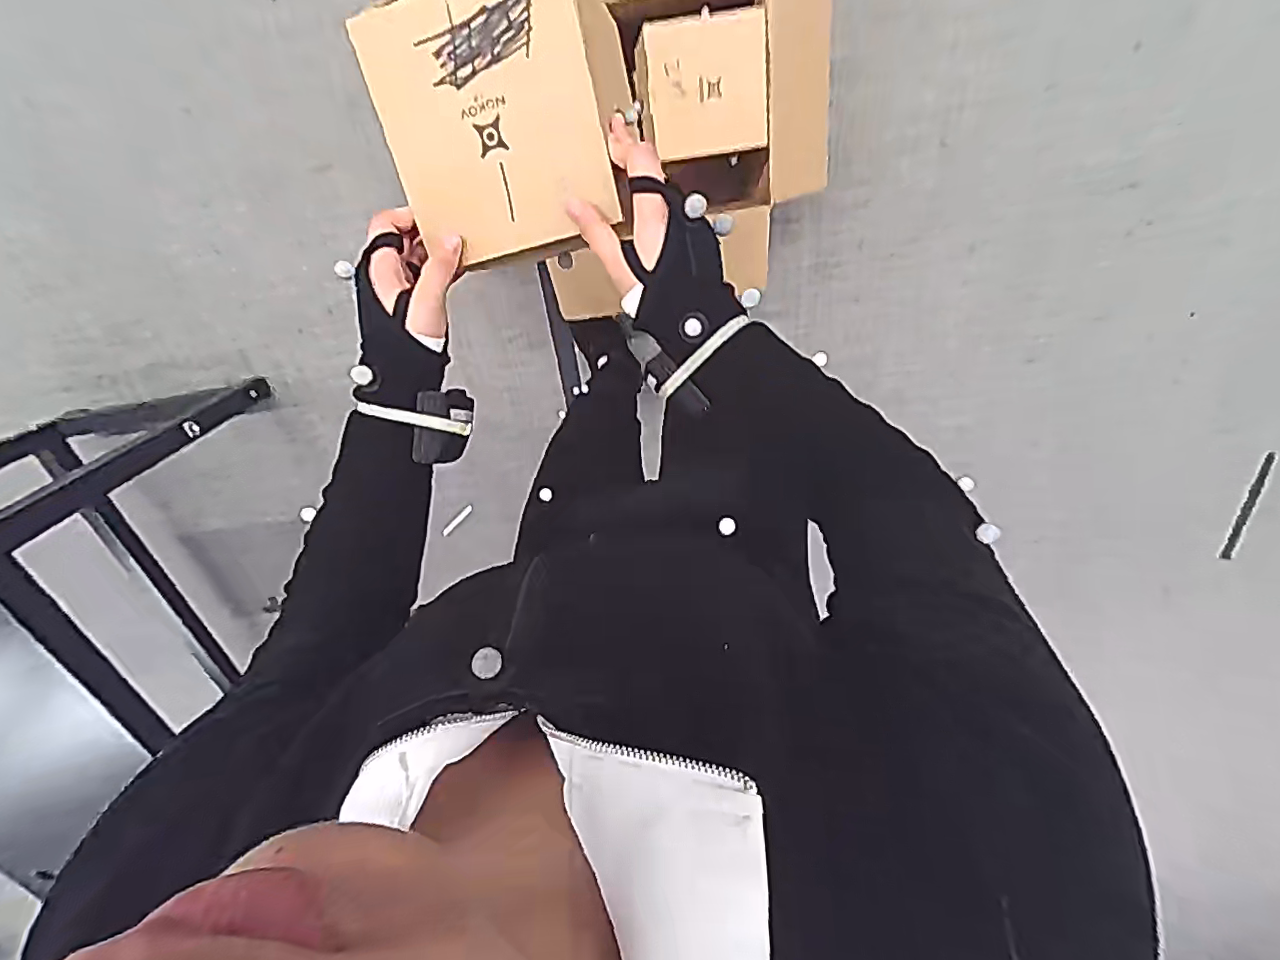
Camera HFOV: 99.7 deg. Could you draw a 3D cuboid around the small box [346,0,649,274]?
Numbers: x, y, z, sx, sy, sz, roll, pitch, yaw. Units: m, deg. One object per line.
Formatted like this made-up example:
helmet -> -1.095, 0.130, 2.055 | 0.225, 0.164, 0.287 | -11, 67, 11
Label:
small box -> -0.098, -0.285, 0.461 | 0.168, 0.176, 0.179 | -8, 112, 14
